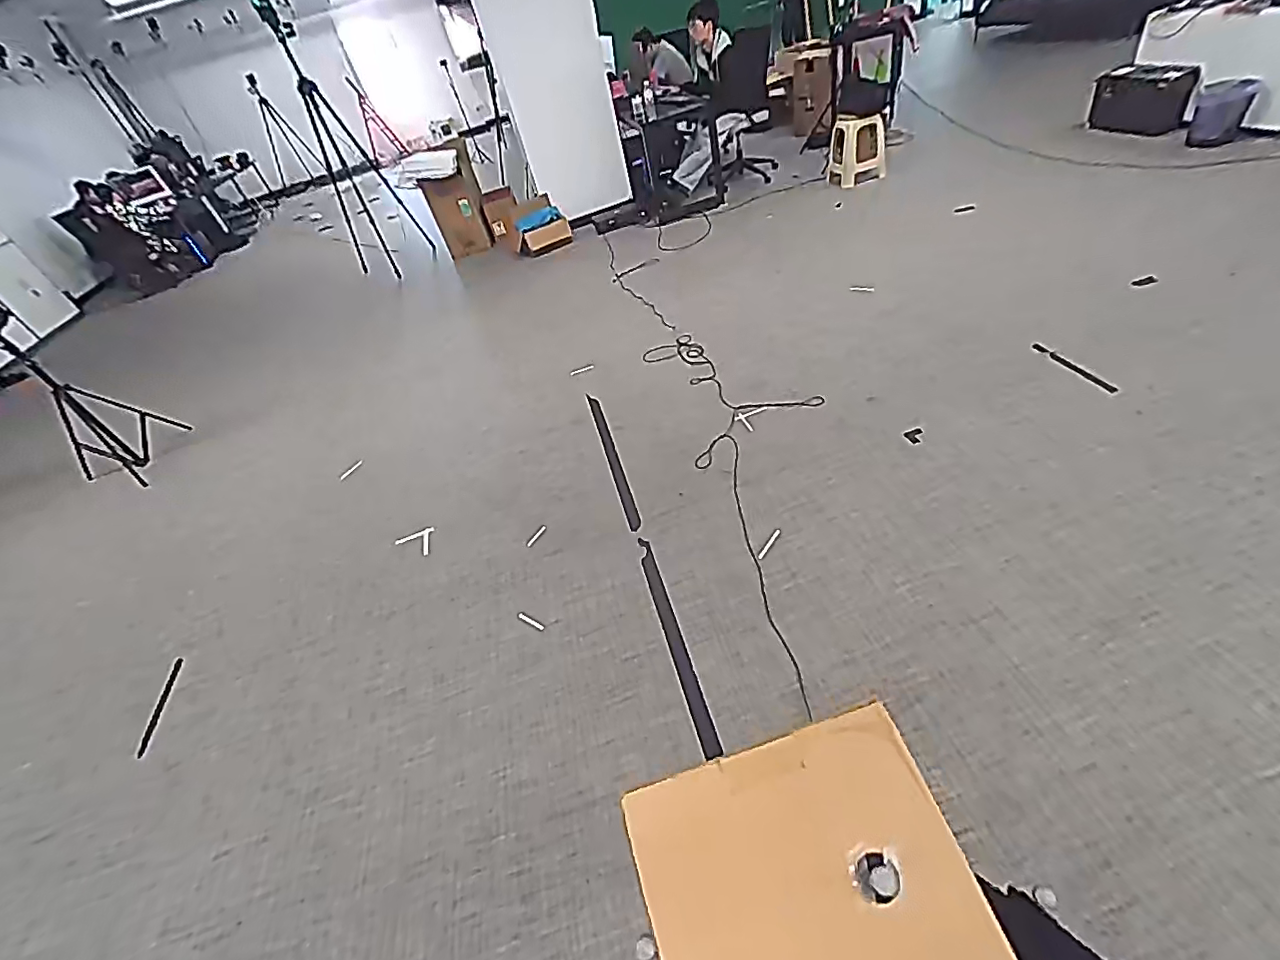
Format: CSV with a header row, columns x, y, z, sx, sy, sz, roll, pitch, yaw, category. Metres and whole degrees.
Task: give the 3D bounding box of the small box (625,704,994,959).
x,y,z,sx,sy,sz,roll,pitch,yaw,category
0.099,0.271,0.359,0.168,0.179,0.176,-17,61,-5,small box
